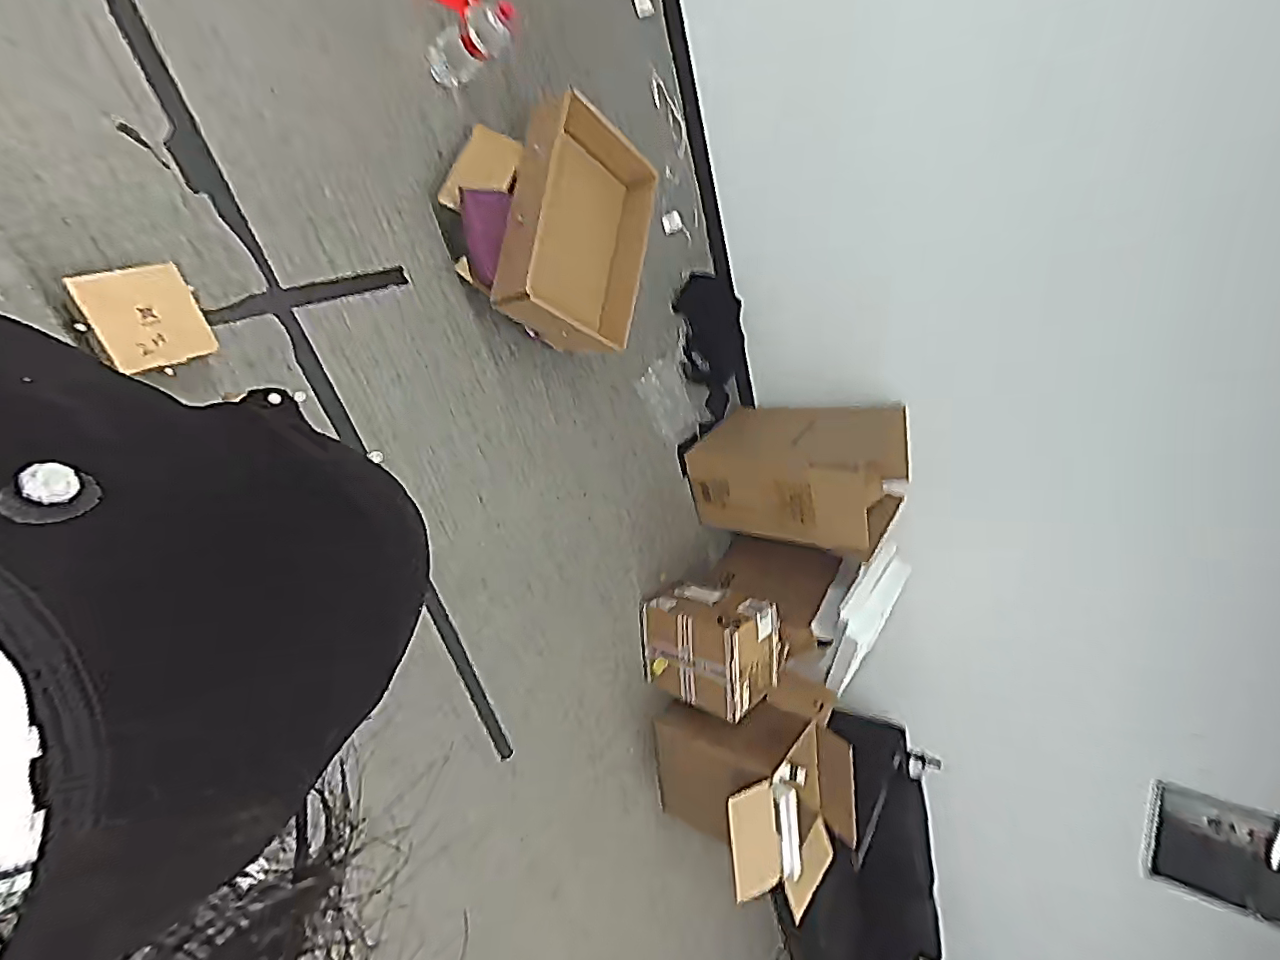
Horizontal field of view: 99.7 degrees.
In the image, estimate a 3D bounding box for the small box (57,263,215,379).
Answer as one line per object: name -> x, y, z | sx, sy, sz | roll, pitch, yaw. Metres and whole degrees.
small box -> -0.991, -0.308, 1.063 | 0.168, 0.176, 0.179 | -35, 120, -40
